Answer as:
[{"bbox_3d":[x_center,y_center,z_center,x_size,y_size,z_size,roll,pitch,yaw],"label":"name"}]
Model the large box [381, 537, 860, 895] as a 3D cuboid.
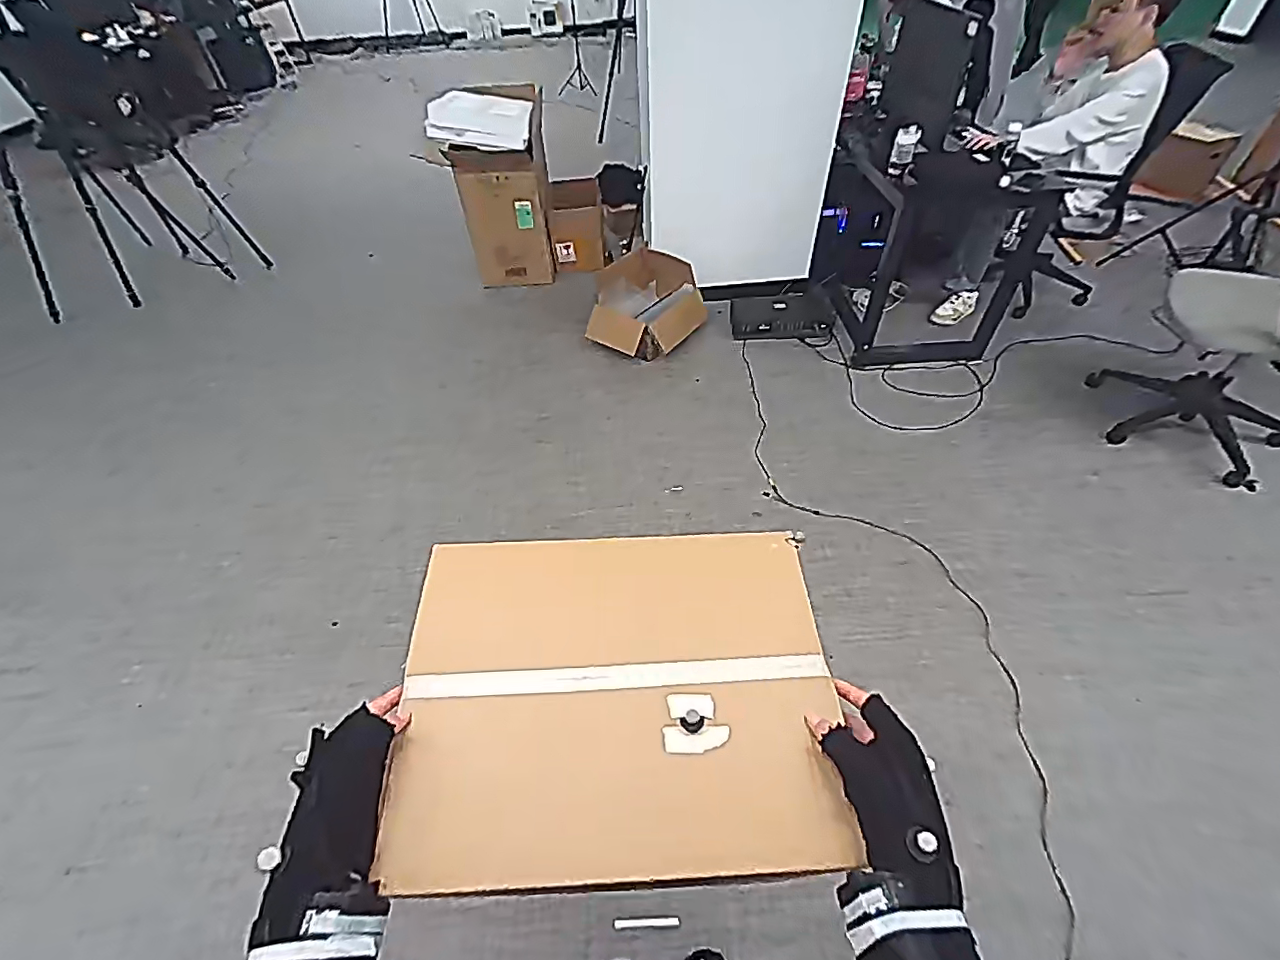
[{"bbox_3d":[-0.023,0.286,0.648,0.408,0.320,0.320,-2,52,-2],"label":"large box"}]
